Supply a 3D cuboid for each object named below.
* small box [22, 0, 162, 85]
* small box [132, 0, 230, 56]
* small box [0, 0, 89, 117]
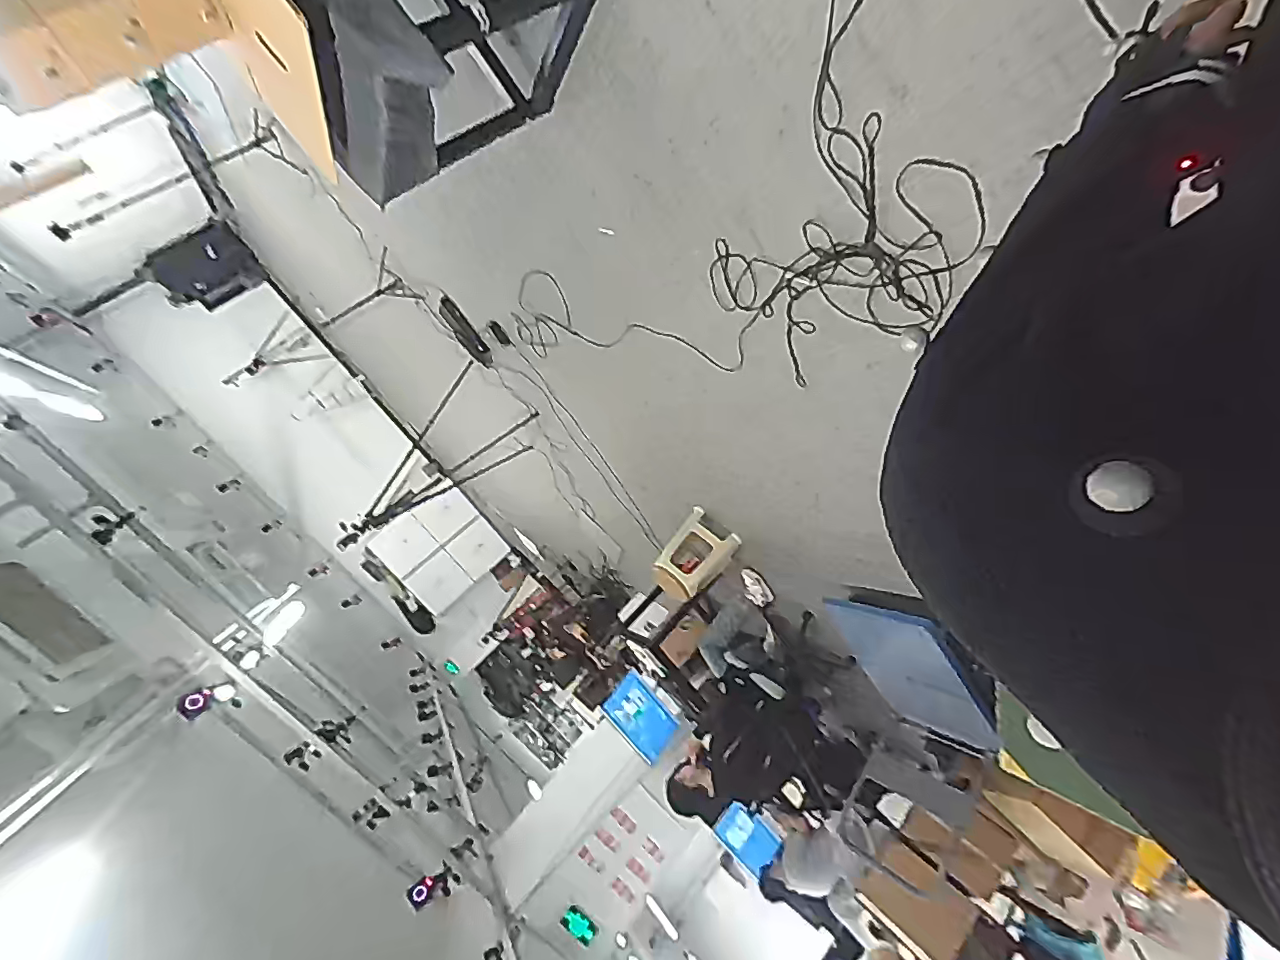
[{"bbox_3d":[-1.184,-1.000,1.141,0.179,0.176,0.168,49,162,-5],"label":"small box"},{"bbox_3d":[-1.067,-1.104,1.191,0.179,0.176,0.168,49,162,-6],"label":"small box"},{"bbox_3d":[-1.302,-0.898,1.094,0.179,0.176,0.168,49,162,-5],"label":"small box"}]
